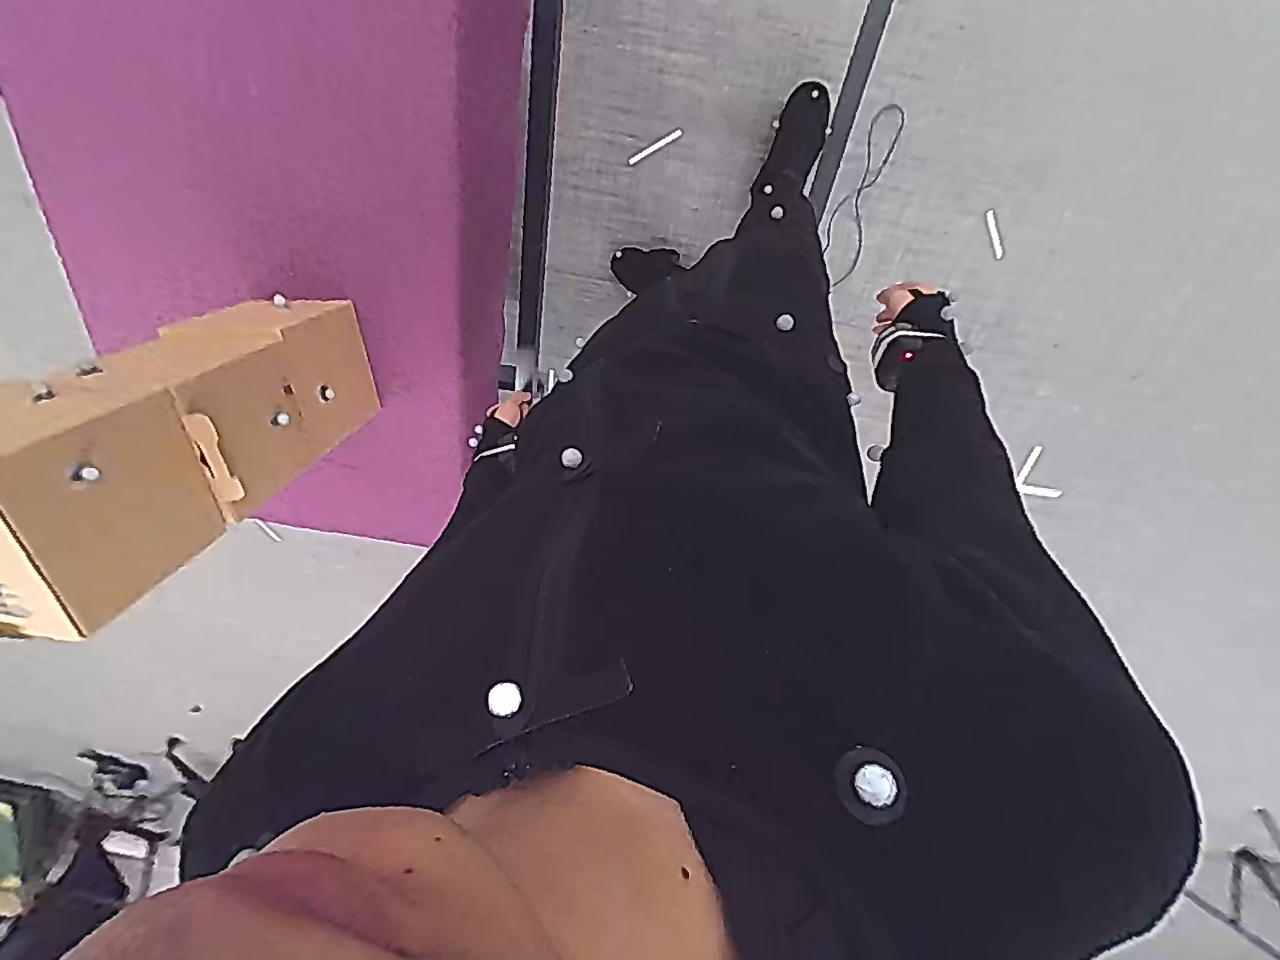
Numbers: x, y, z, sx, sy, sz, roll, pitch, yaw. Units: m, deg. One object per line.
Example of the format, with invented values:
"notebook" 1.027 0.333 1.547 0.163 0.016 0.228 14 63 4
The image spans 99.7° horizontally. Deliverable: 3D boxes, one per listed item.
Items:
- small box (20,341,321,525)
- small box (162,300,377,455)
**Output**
"small box" -0.531 -0.062 0.644 0.179 0.176 0.168 0 121 5
"small box" -0.511 -0.152 0.781 0.168 0.176 0.179 1 120 4
